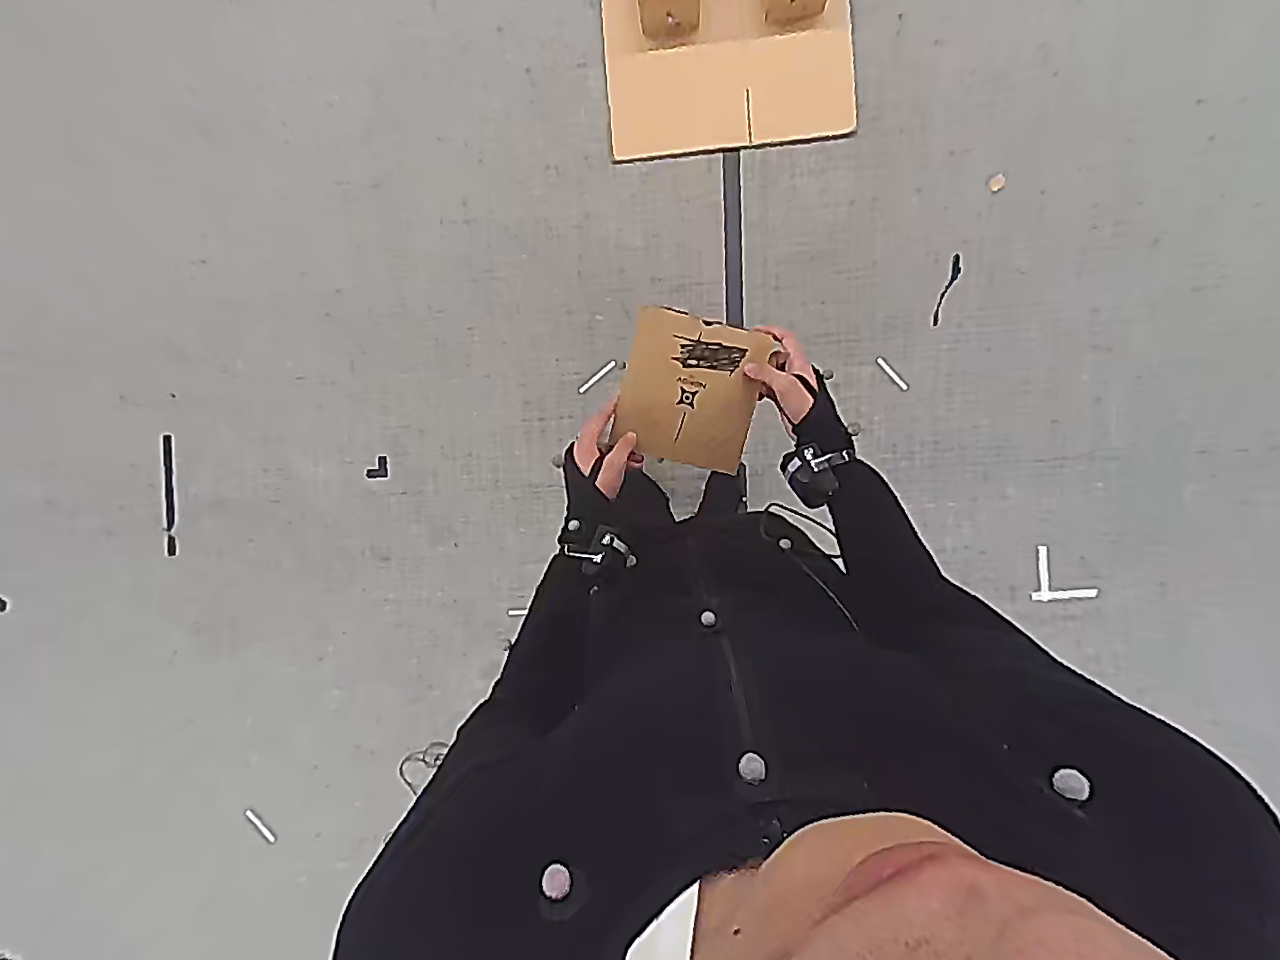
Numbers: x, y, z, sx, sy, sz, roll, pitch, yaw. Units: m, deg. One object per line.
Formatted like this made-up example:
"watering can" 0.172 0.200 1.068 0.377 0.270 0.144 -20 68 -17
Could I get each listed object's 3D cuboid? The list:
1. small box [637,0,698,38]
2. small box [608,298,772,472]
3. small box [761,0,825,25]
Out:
"small box" 0.071 -1.363 1.471 0.168 0.176 0.179 -4 92 6
"small box" 0.056 -0.123 0.729 0.168 0.176 0.179 14 97 -3
"small box" 0.413 -1.383 1.446 0.168 0.176 0.179 -7 91 5
